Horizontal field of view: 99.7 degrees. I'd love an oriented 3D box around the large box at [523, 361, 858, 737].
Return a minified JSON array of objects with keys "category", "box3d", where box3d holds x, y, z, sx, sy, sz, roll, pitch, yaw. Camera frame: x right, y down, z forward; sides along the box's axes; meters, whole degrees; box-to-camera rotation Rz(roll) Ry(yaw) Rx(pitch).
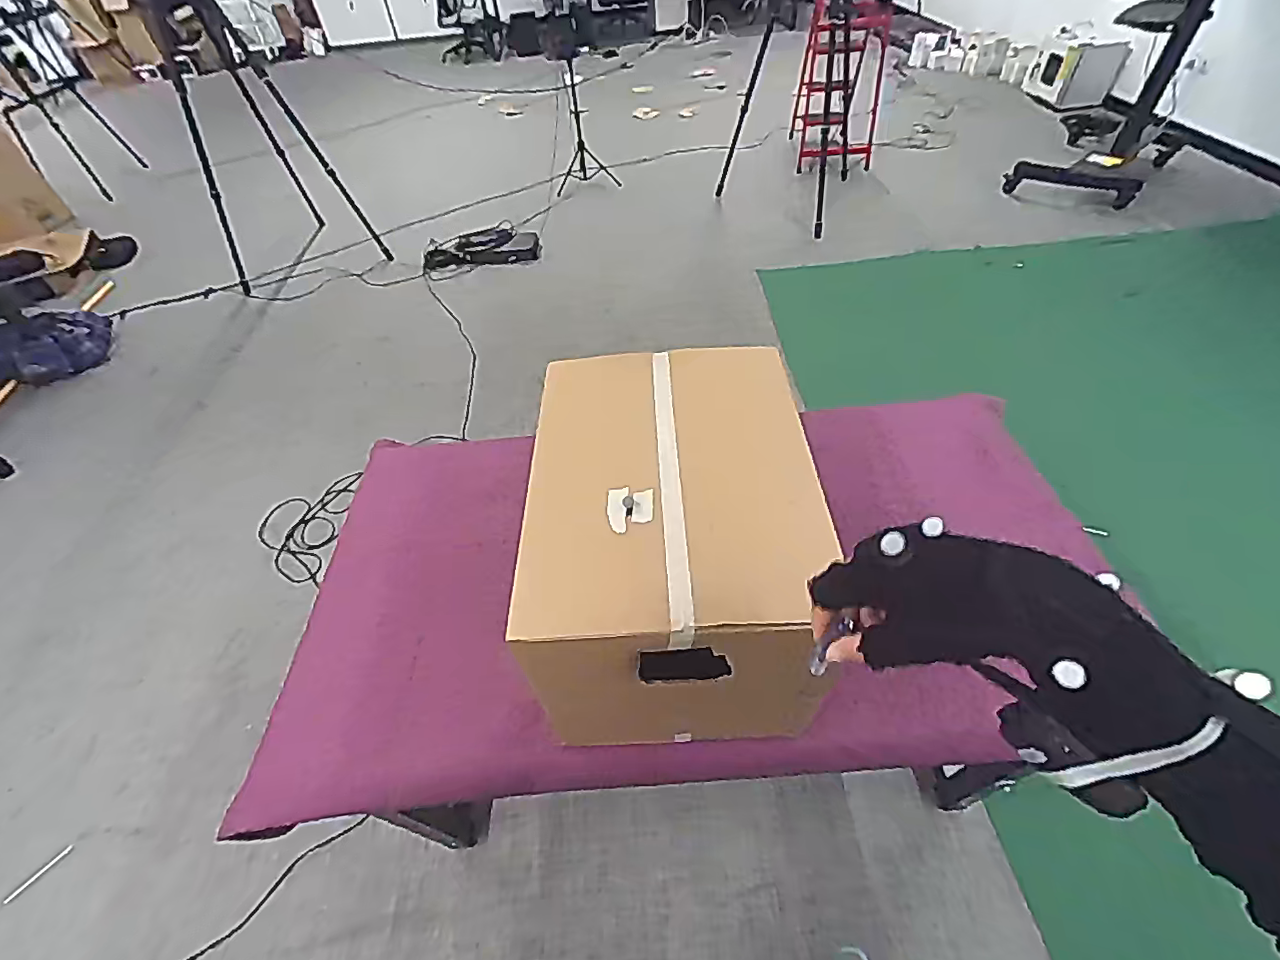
[{"category":"large box","box3d":[0.045,0.088,0.728,0.320,0.320,0.408,-3,49,2]}]
